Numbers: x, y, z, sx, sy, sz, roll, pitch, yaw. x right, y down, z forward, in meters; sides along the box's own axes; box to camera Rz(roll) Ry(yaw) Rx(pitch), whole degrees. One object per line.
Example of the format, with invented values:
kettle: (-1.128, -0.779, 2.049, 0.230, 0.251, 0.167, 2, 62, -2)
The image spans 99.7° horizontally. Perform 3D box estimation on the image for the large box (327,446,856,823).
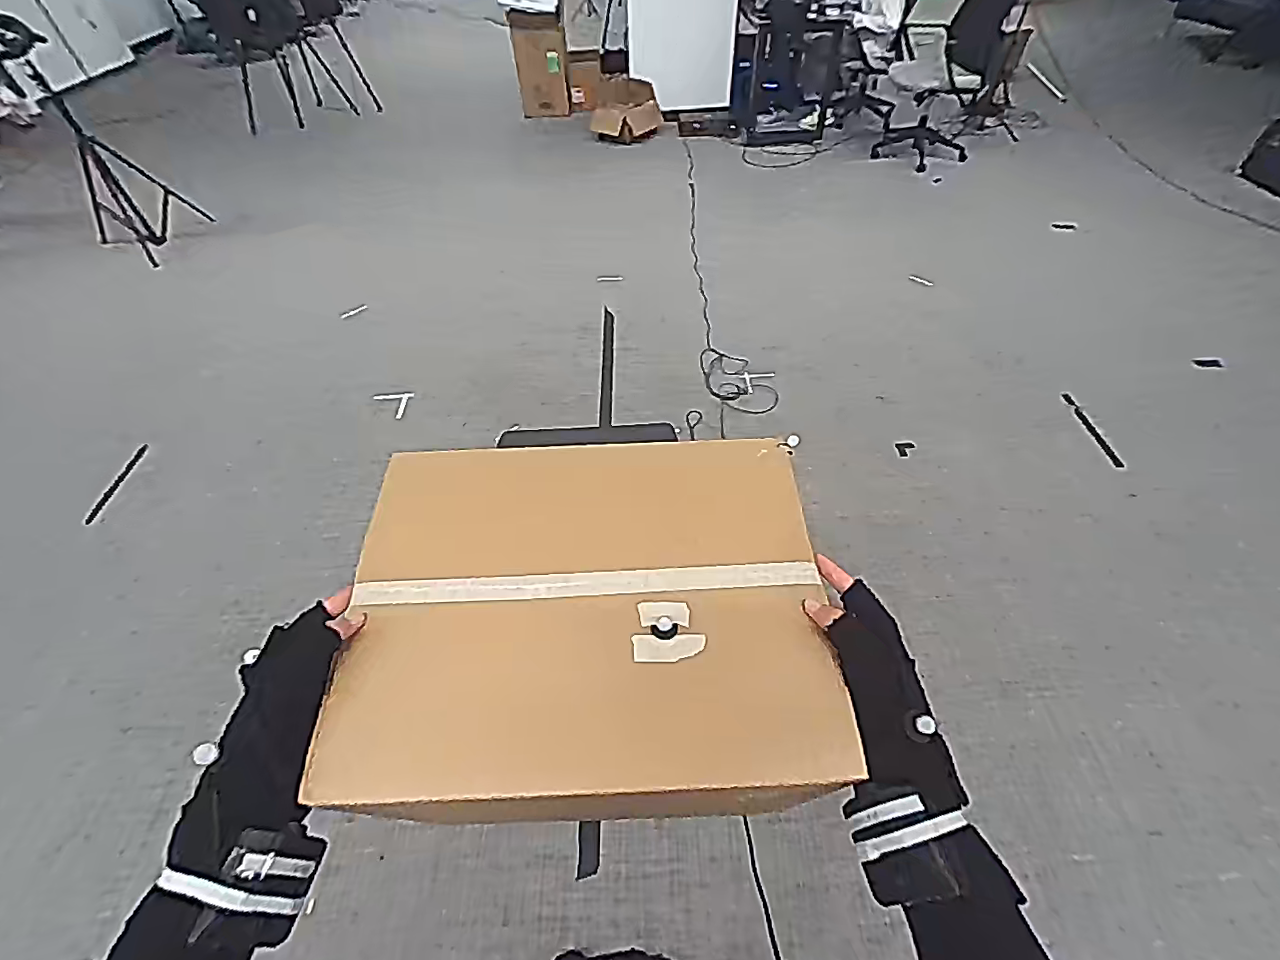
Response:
large box: (-0.039, 0.183, 0.606, 0.408, 0.320, 0.320, -2, 55, 0)
